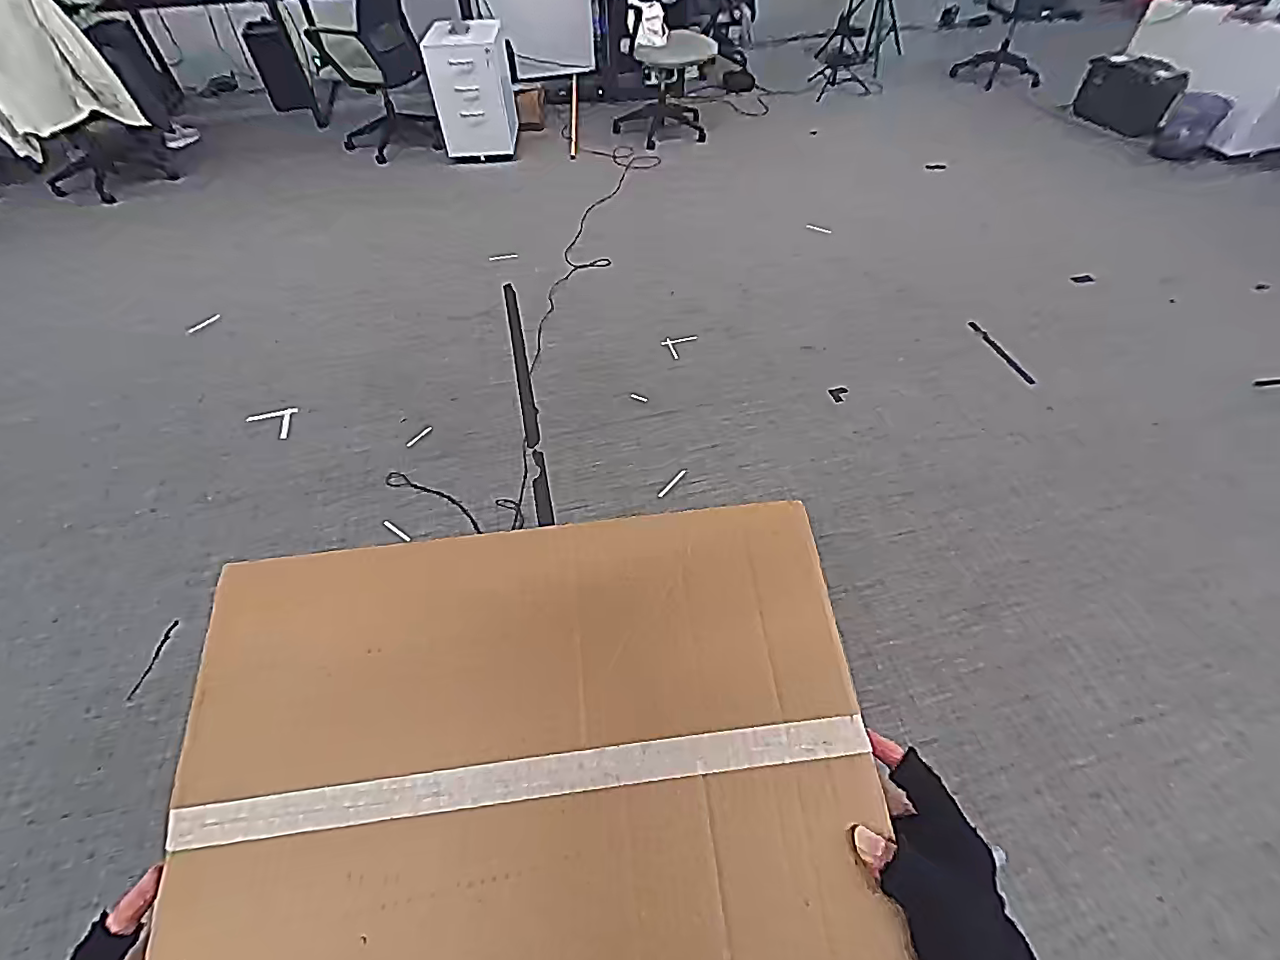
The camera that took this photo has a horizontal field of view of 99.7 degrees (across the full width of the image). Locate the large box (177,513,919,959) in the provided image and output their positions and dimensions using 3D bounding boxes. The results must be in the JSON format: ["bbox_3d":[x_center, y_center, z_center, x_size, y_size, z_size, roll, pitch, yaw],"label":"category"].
[{"bbox_3d":[-0.060,0.249,0.461,0.408,0.320,0.320,-6,66,-2],"label":"large box"}]
